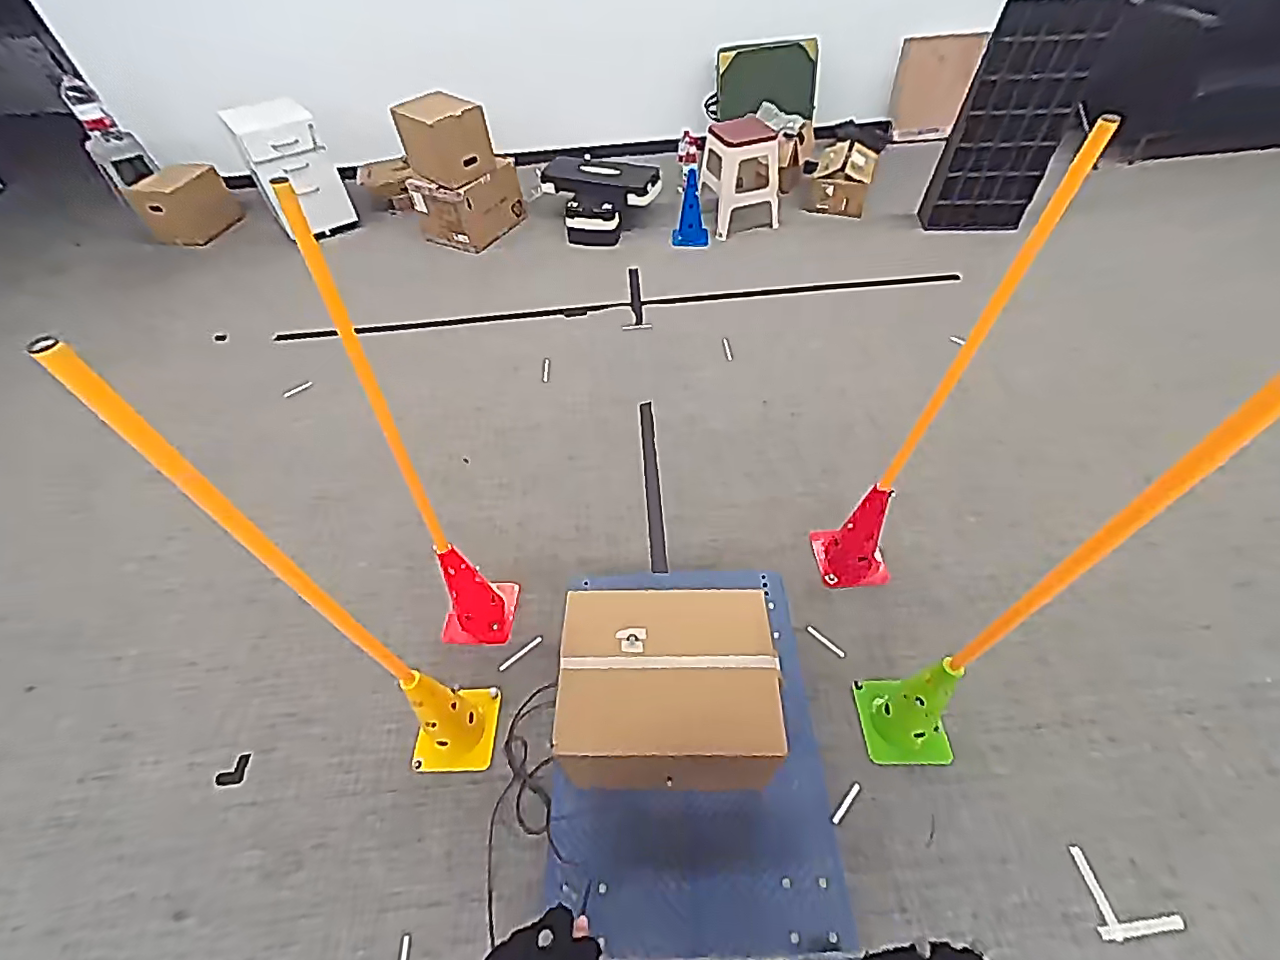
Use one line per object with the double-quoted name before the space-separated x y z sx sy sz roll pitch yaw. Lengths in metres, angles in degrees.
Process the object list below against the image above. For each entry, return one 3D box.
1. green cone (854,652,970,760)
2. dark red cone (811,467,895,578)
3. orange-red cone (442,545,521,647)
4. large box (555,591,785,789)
"green cone" 0.656 0.490 1.238 0.202 0.368 0.200 -1 50 2
"dark red cone" 0.642 0.109 1.538 0.201 0.394 0.202 -4 50 -1
"orange-red cone" -0.477 0.291 1.497 0.198 0.360 0.199 1 49 4
"large box" 0.060 0.448 1.132 0.408 0.320 0.320 -2 50 3
